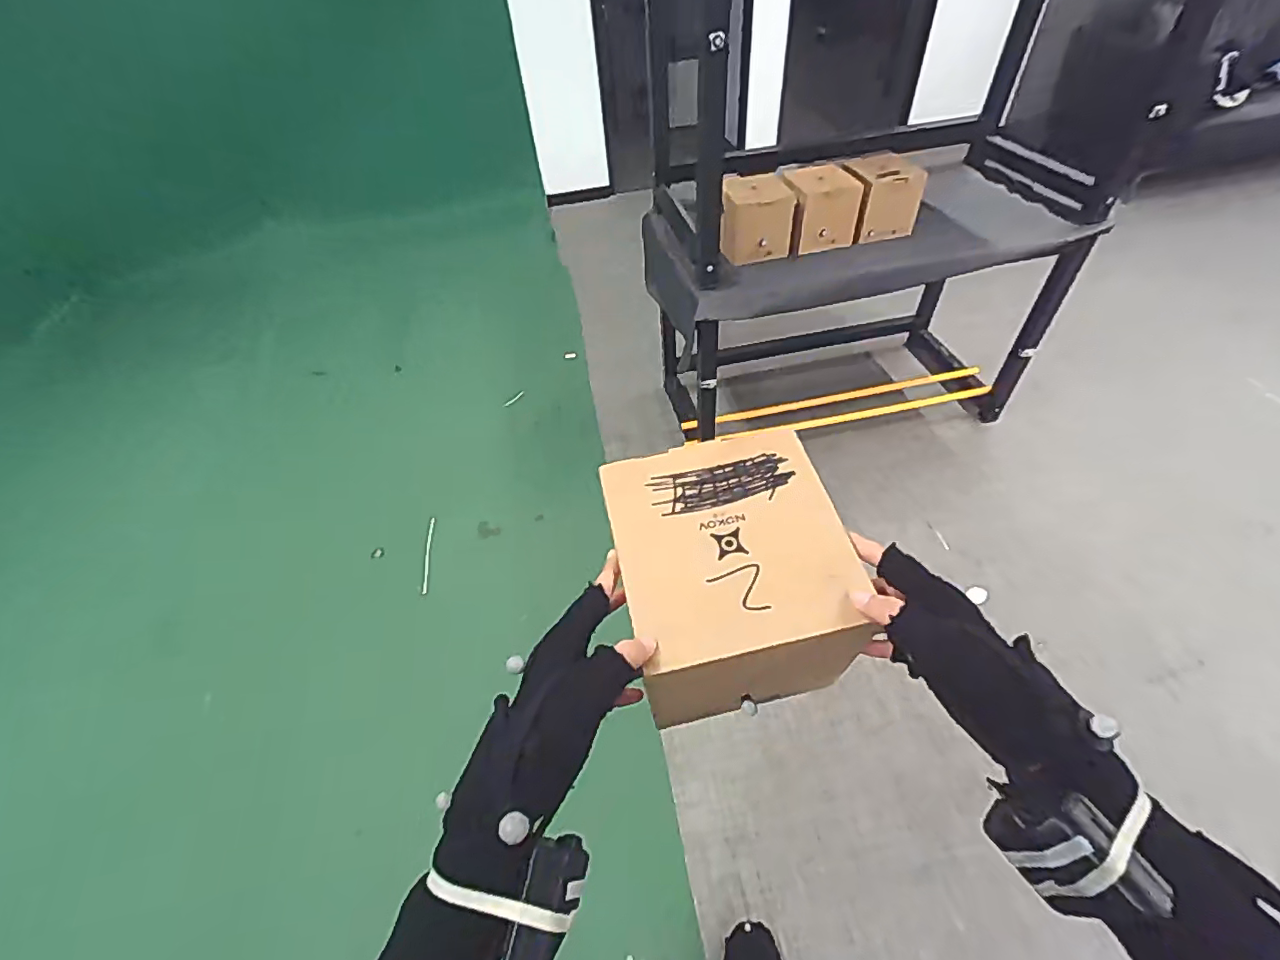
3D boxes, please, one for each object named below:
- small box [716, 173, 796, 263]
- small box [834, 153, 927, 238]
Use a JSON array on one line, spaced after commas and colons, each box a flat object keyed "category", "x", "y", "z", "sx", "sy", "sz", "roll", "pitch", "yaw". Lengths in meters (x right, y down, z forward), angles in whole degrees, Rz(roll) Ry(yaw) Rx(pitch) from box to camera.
[{"category": "small box", "x": 0.317, "y": -0.736, "z": 1.522, "sx": 0.168, "sy": 0.176, "sz": 0.179, "roll": -13, "pitch": 48, "yaw": -6}, {"category": "small box", "x": 0.682, "y": -0.812, "z": 1.555, "sx": 0.168, "sy": 0.176, "sz": 0.179, "roll": -12, "pitch": 47, "yaw": -5}]
